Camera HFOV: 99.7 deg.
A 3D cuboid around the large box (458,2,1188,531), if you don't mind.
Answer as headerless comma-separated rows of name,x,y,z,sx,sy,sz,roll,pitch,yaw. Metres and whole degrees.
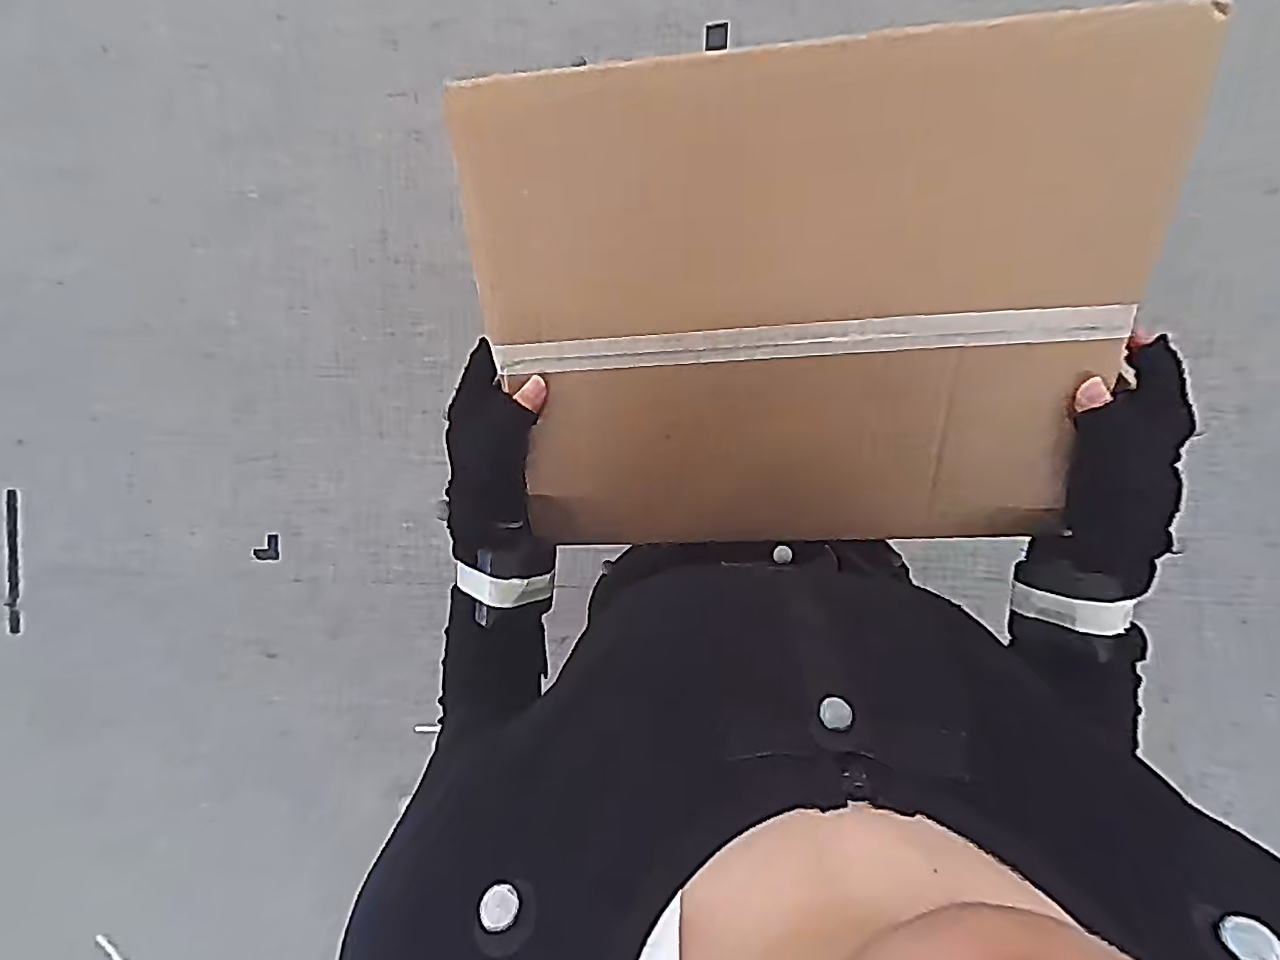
large box,0.109,-0.169,0.497,0.408,0.320,0.320,-2,118,6
